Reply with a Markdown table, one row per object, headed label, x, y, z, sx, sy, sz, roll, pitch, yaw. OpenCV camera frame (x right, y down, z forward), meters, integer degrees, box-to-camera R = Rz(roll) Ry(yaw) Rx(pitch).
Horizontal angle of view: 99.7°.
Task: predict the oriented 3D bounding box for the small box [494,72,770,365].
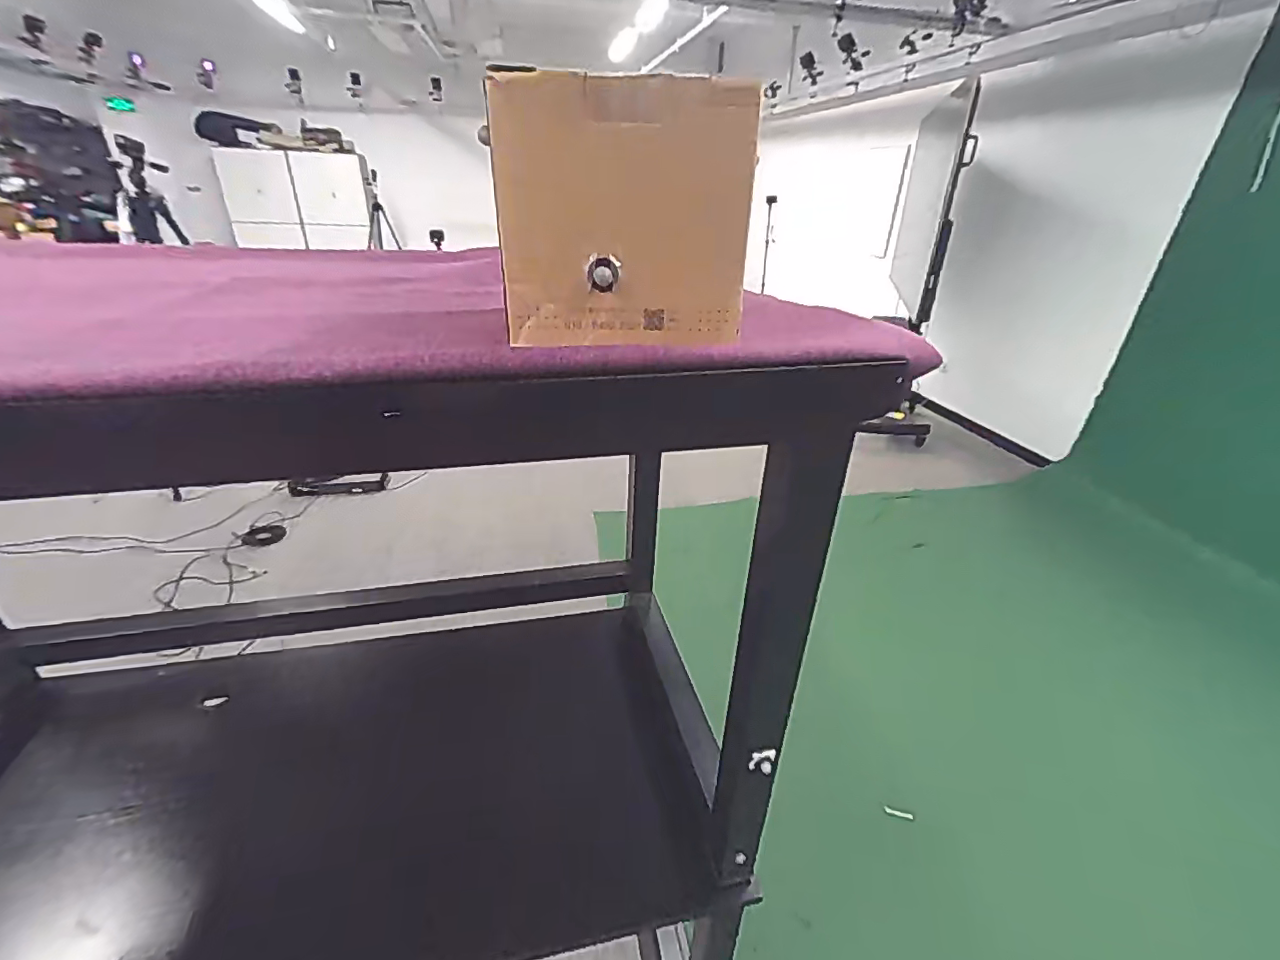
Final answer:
| label | x | y | z | sx | sy | sz | roll | pitch | yaw |
| --- | --- | --- | --- | --- | --- | --- | --- | --- | --- |
| small box | -0.009 | -0.199 | 0.425 | 0.168 | 0.176 | 0.179 | 0 | 30 | -3 |
